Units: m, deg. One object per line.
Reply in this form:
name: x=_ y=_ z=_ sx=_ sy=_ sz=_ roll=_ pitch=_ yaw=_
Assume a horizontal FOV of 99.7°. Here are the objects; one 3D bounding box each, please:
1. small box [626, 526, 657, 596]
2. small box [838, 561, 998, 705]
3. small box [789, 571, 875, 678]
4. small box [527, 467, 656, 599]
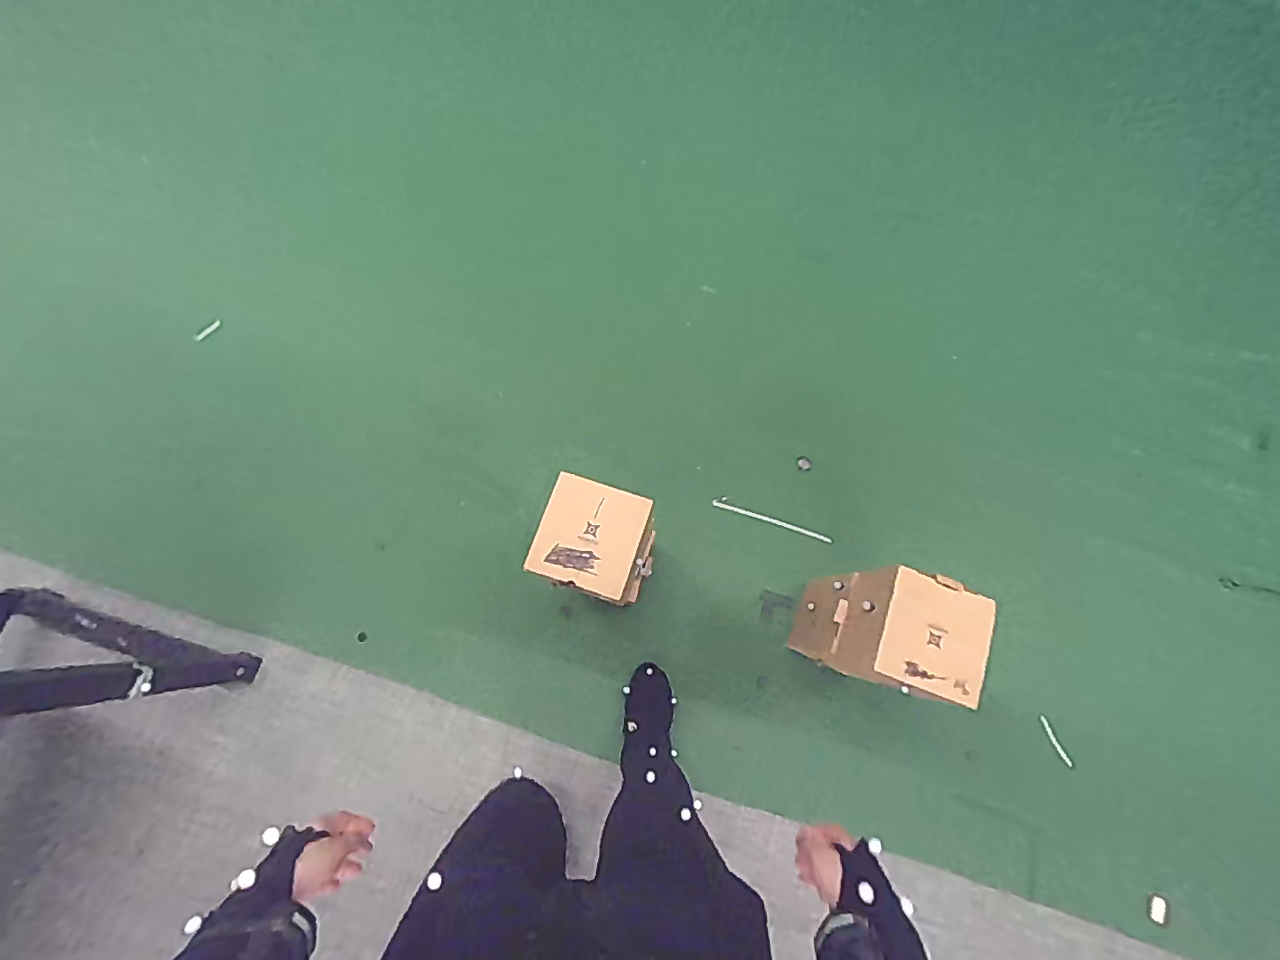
small box: x=-0.068 y=0.173 z=1.267 sx=0.179 sy=0.176 sz=0.168 roll=17 pitch=77 yaw=3
small box: x=0.463 y=0.257 z=0.923 sx=0.168 sy=0.176 sz=0.179 roll=21 pitch=75 yaw=2
small box: x=0.463 y=0.329 z=1.245 sx=0.168 sy=0.176 sz=0.179 roll=25 pitch=77 yaw=4
small box: x=-0.076 y=0.102 z=0.948 sx=0.168 sy=0.176 sz=0.179 roll=18 pitch=76 yaw=4
